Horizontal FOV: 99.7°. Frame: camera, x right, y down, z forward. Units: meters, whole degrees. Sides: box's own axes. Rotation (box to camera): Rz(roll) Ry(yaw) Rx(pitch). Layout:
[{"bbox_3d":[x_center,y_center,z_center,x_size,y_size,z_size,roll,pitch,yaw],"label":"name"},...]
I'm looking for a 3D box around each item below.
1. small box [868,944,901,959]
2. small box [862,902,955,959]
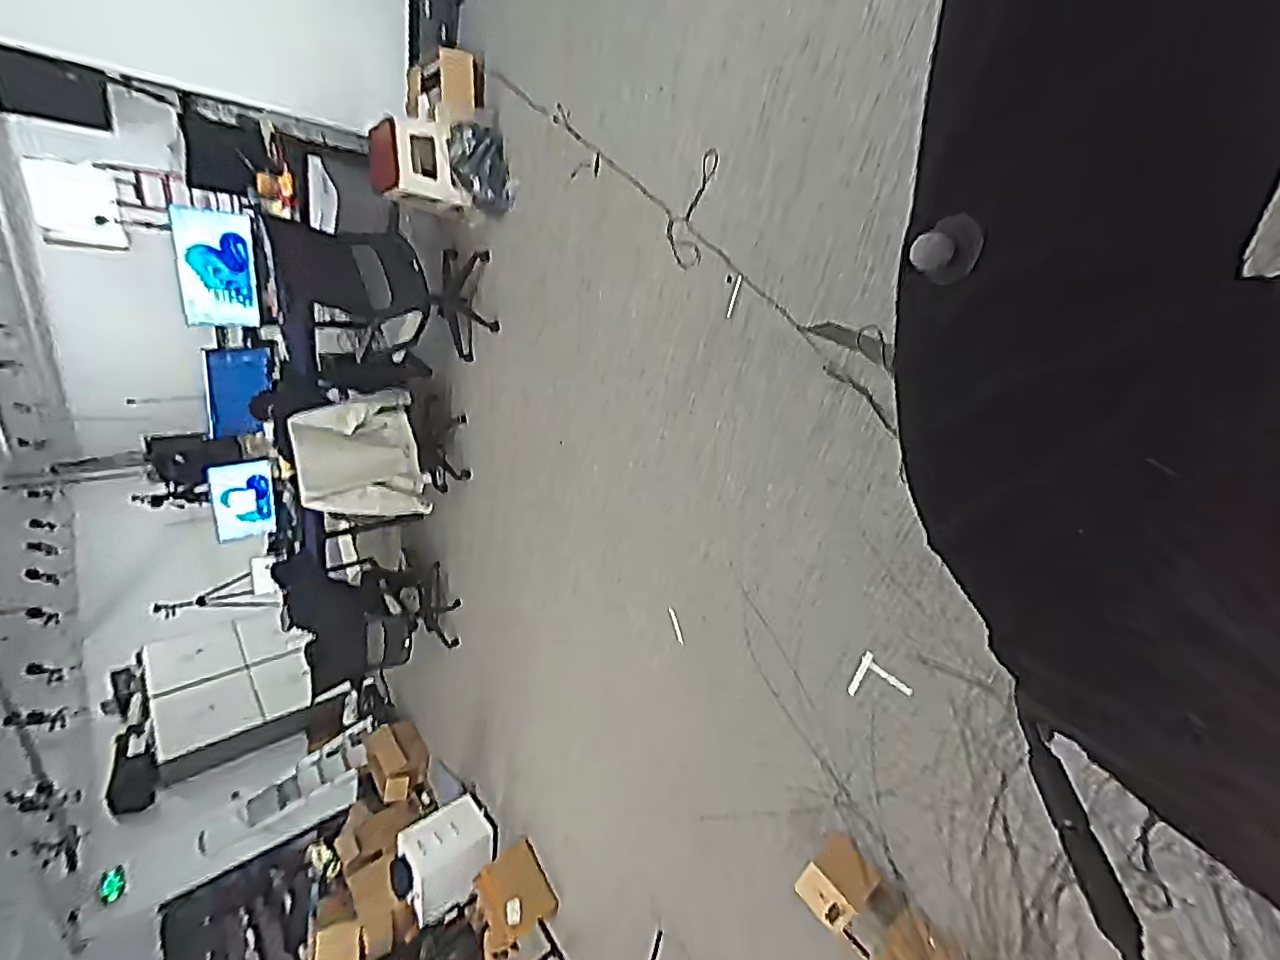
[{"bbox_3d":[0.699,1.483,1.530,0.168,0.176,0.179,36,125,36],"label":"small box"},{"bbox_3d":[0.818,1.444,1.639,0.168,0.176,0.179,38,125,33],"label":"small box"}]
